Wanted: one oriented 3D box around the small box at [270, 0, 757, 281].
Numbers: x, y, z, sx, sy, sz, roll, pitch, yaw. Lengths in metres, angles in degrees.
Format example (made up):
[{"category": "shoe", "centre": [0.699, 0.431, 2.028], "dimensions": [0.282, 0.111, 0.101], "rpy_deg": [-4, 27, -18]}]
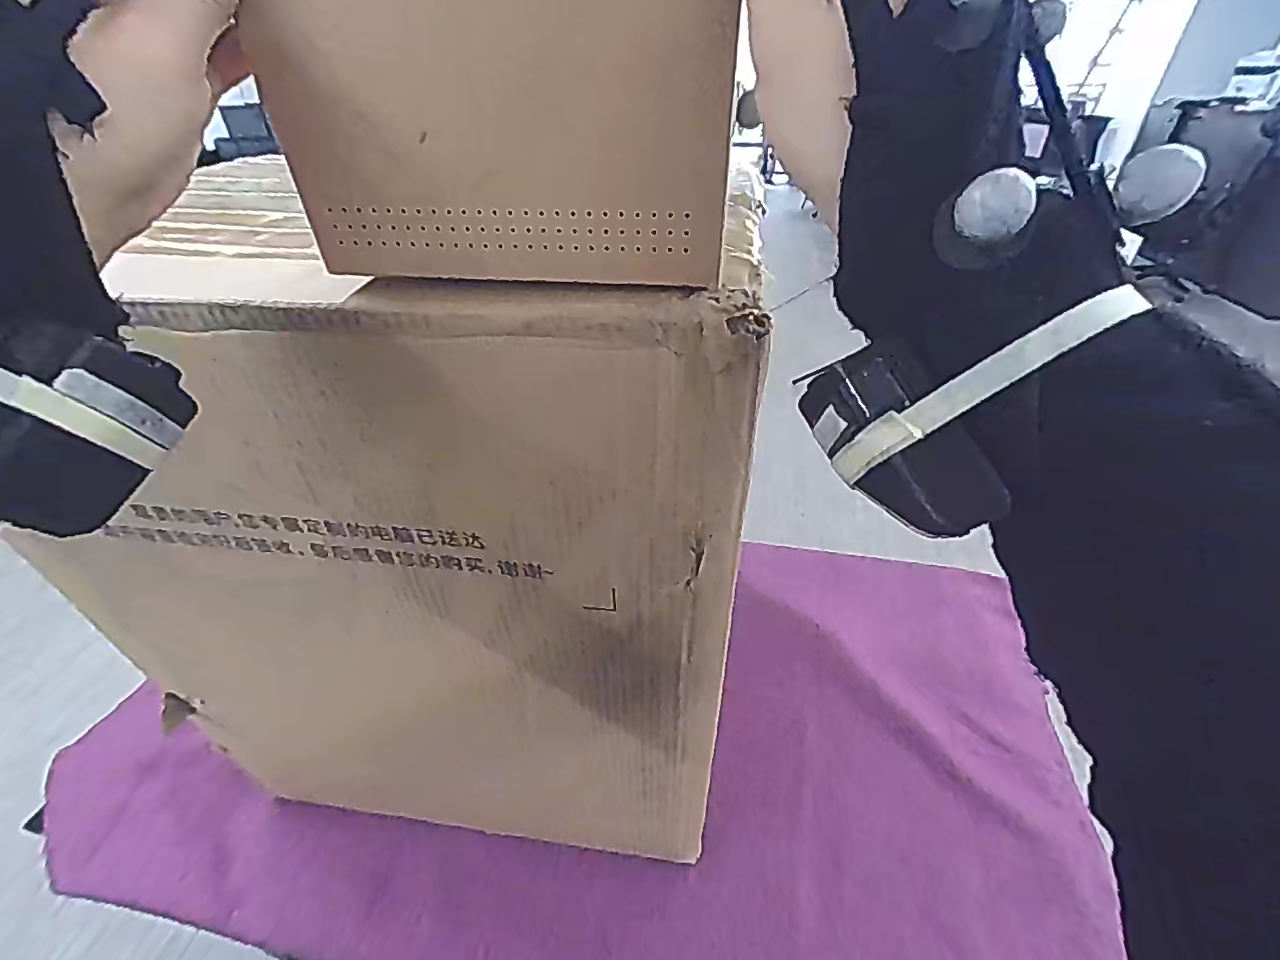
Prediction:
[{"category": "small box", "centre": [-0.039, -0.198, 0.242], "dimensions": [0.179, 0.176, 0.168], "rpy_deg": [4, 39, 6]}]
